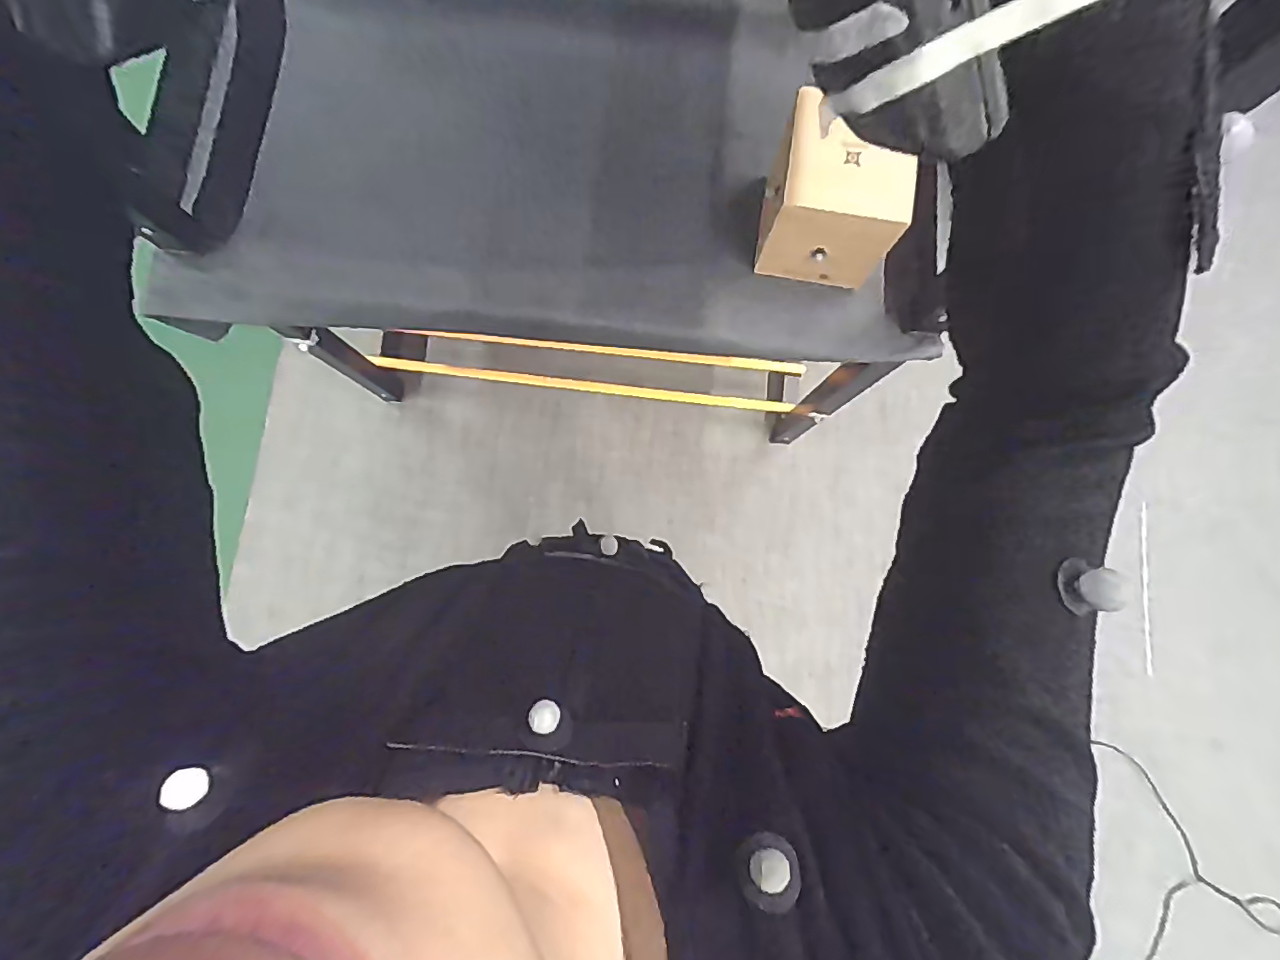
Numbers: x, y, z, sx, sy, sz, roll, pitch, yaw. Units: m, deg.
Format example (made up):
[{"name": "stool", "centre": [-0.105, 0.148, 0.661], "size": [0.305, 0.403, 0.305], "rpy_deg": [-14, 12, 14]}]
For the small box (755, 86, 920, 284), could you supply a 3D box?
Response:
[{"name": "small box", "centre": [0.269, -0.407, 0.772], "size": [0.168, 0.176, 0.179], "rpy_deg": [10, 81, 0]}]
